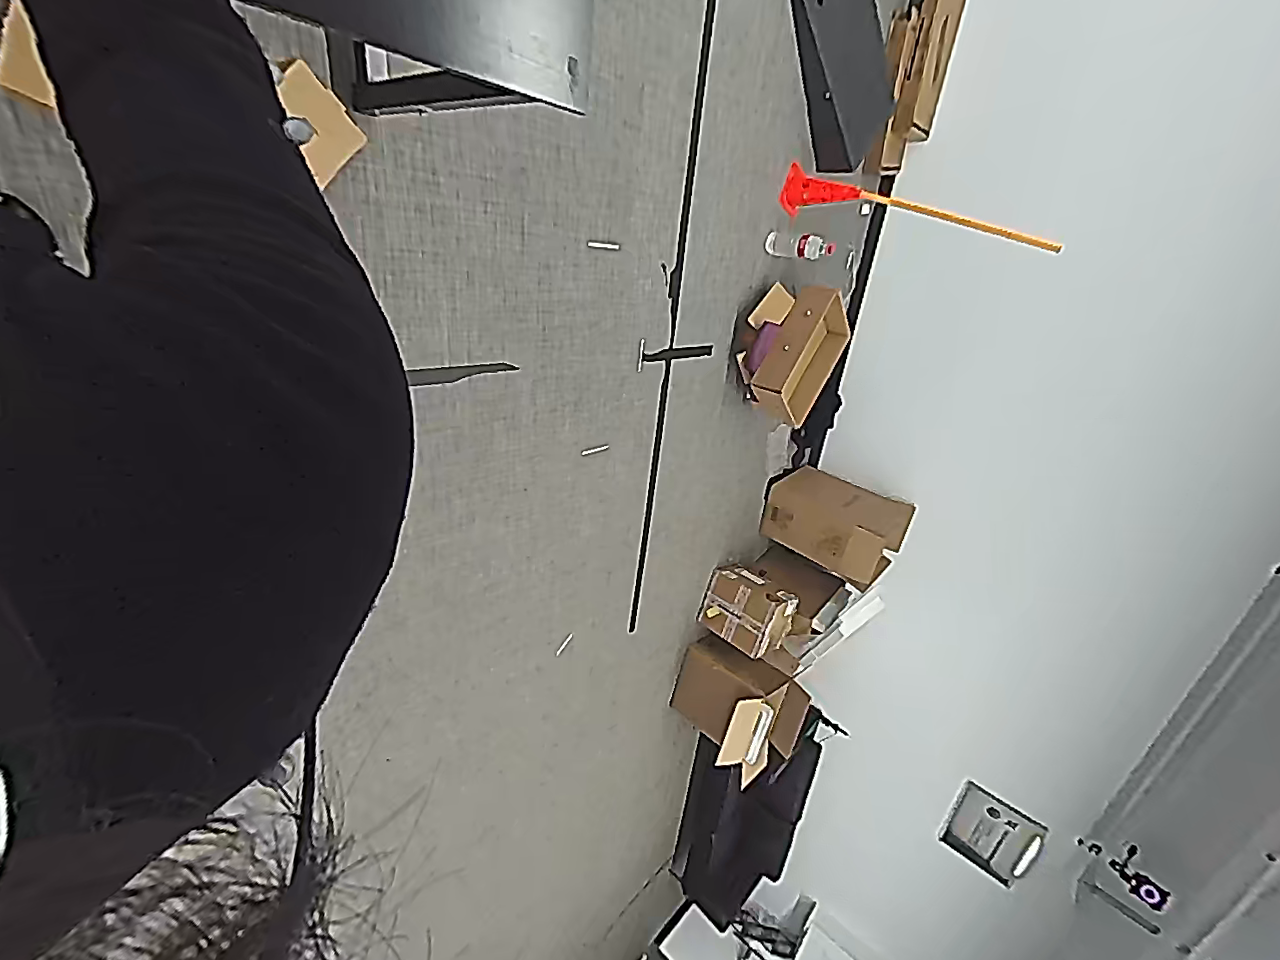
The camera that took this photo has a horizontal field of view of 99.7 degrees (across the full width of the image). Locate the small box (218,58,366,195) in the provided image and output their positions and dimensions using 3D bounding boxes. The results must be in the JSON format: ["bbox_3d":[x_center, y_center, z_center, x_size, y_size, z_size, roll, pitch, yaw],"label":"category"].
[{"bbox_3d":[-0.715,-0.721,1.110,0.179,0.176,0.168,-56,144,-11],"label":"small box"}]
